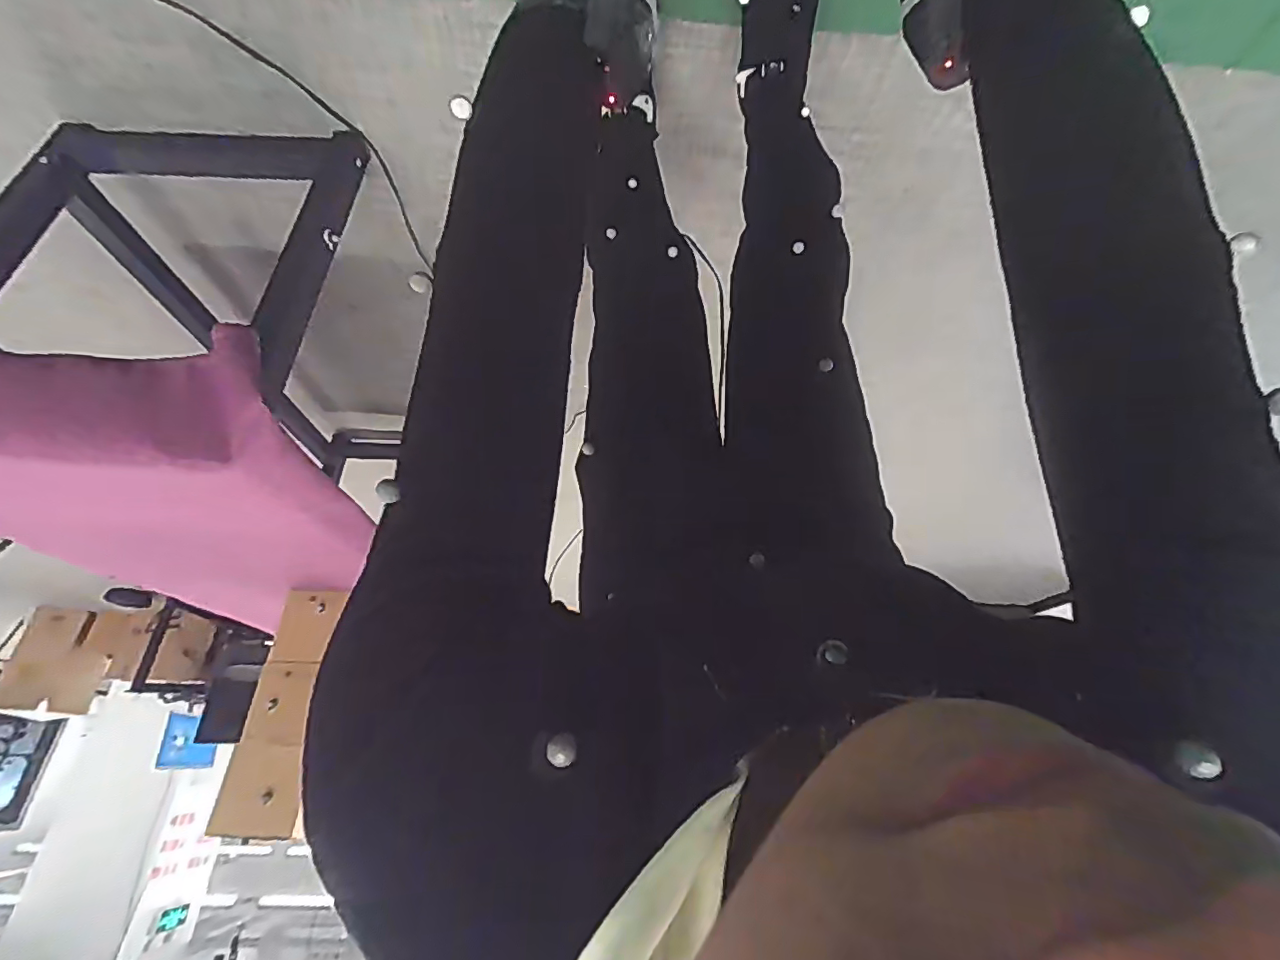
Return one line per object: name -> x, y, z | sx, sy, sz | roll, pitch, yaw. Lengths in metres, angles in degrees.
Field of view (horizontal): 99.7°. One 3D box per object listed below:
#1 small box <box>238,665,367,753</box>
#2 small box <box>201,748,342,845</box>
small box -> -0.752, 0.521, 1.226 | 0.168, 0.176, 0.179 | 3, 152, -1
small box -> -0.764, 0.664, 1.149 | 0.179, 0.176, 0.168 | 2, 151, -1
